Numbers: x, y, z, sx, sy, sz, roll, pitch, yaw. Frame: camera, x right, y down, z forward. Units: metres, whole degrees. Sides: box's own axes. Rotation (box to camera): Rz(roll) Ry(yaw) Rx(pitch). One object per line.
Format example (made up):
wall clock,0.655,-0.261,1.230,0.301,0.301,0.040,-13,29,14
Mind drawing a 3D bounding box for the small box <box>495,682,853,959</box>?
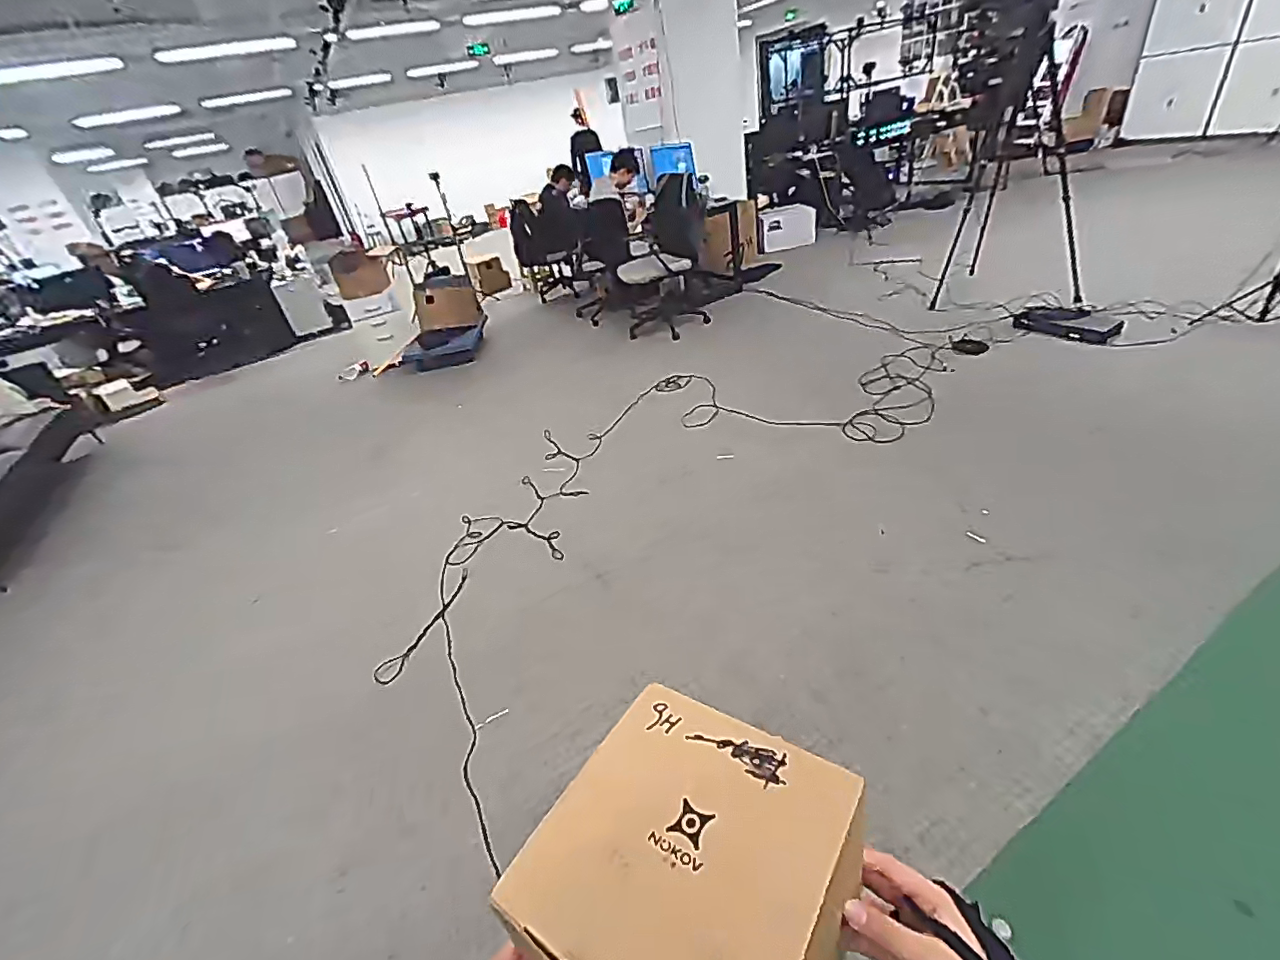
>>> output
small box,0.039,0.286,0.372,0.168,0.176,0.179,12,37,35
